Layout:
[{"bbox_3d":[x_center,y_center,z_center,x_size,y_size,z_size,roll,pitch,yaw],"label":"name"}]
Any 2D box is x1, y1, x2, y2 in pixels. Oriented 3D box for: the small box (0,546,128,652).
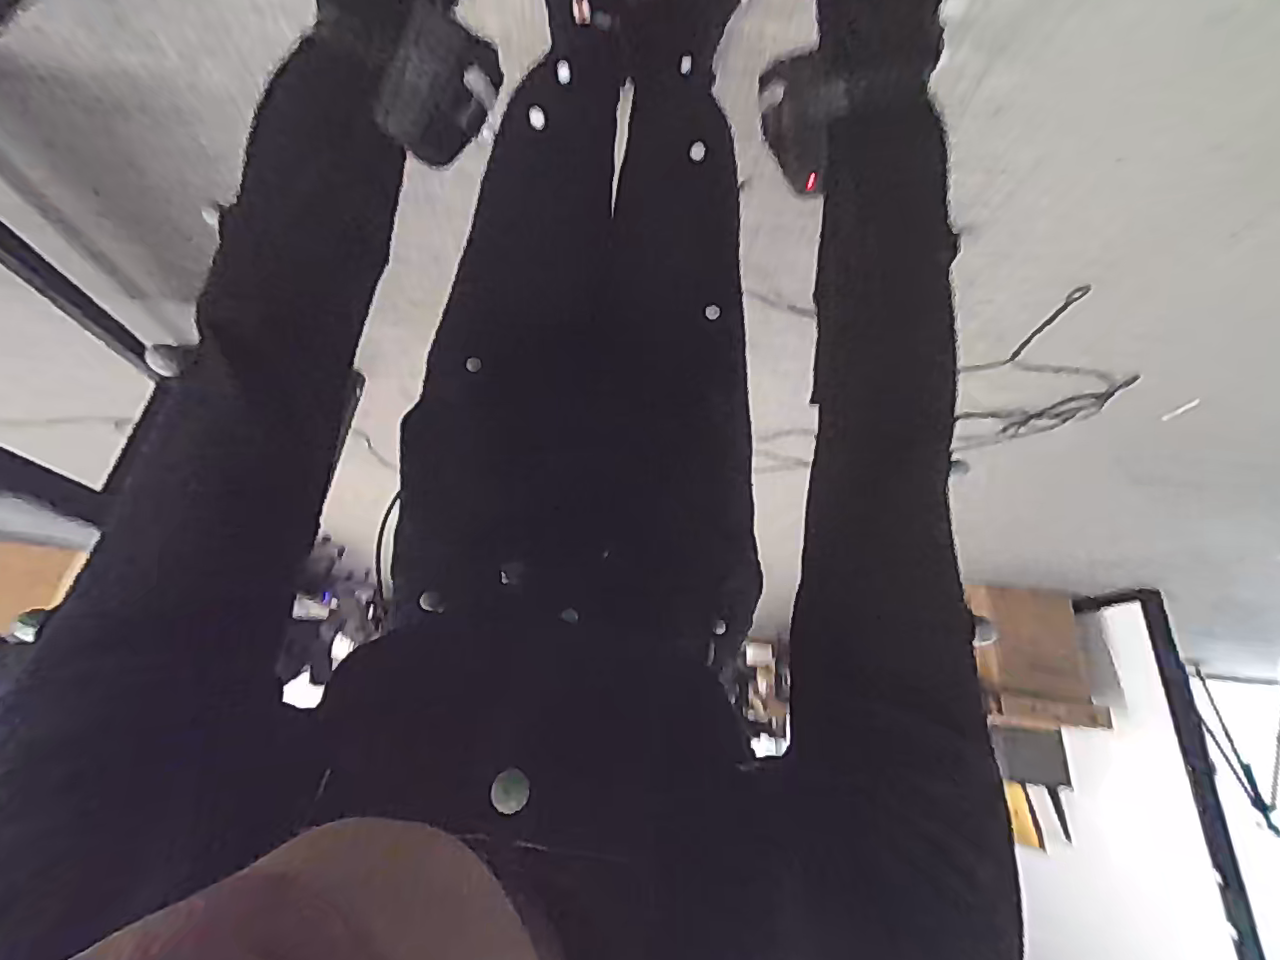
[{"bbox_3d":[-1.162,0.233,1.053,0.179,0.176,0.168,8,156,-2],"label":"small box"}]
